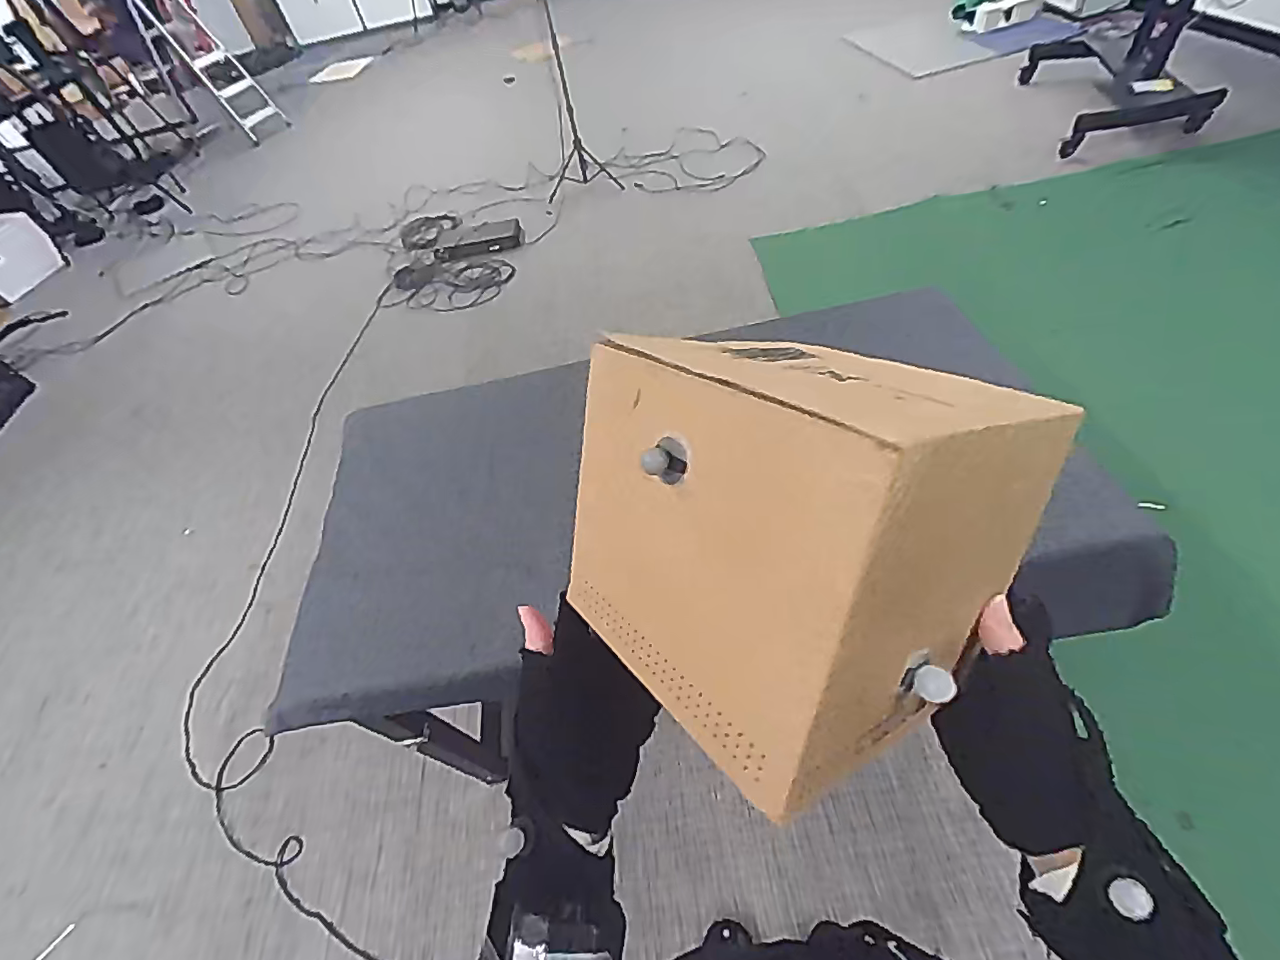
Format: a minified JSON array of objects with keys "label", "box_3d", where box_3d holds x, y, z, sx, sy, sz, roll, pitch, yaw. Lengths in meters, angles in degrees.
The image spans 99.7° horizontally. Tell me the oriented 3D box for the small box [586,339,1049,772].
[{"label":"small box","box_3d":[0.081,0.020,0.315,0.168,0.176,0.179,-9,27,-36]}]
